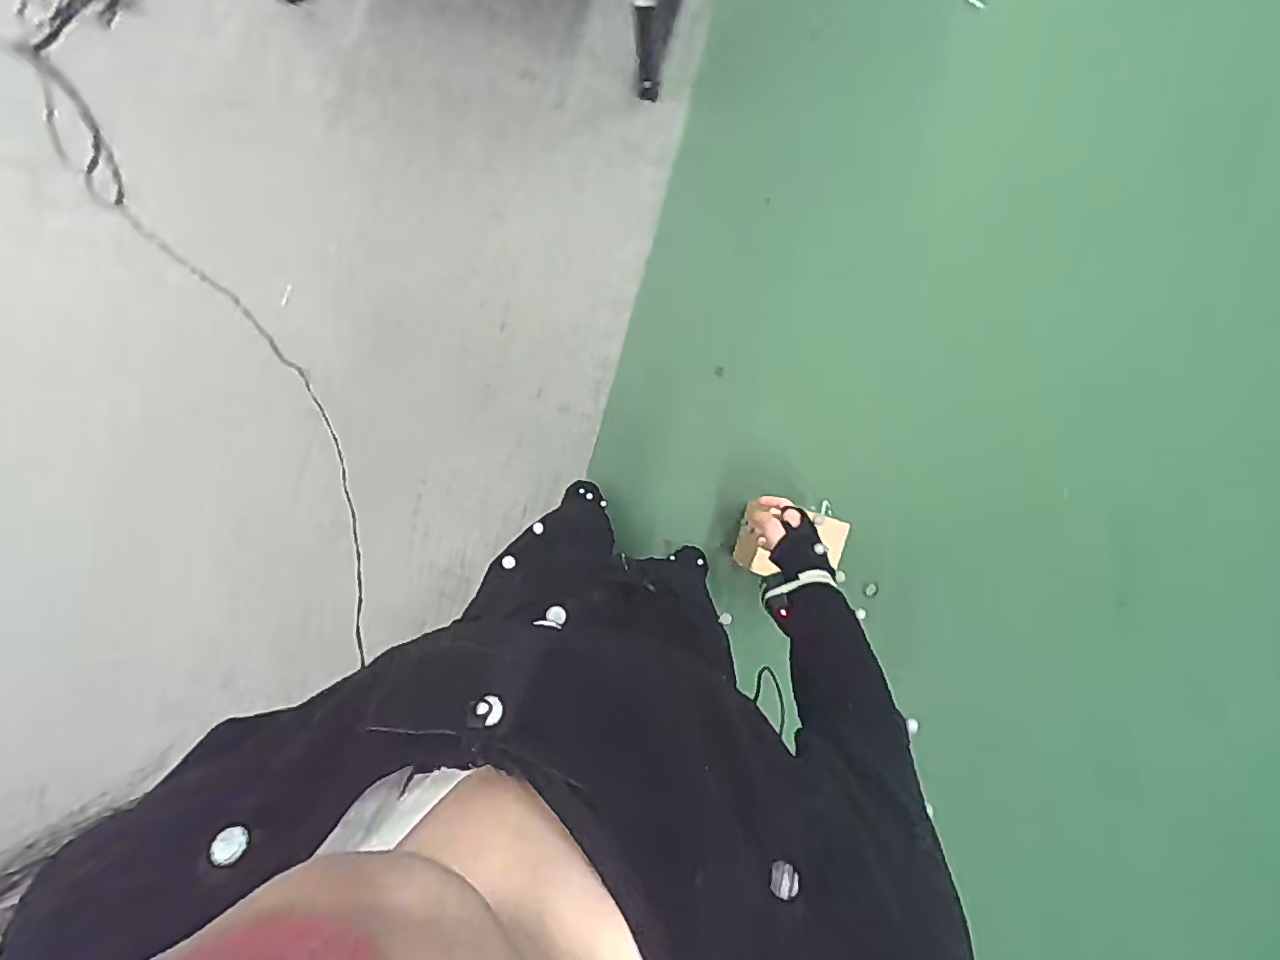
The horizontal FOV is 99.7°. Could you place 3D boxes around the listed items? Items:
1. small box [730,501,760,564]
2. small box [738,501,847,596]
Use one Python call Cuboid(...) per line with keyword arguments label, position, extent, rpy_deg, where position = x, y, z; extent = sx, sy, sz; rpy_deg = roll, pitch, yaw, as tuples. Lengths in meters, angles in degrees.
Cuboid(label="small box", position=(0.346, 0.157, 1.408), extent=(0.179, 0.176, 0.168), rpy_deg=(17, 89, 2))
Cuboid(label="small box", position=(0.341, 0.148, 1.243), extent=(0.179, 0.176, 0.168), rpy_deg=(19, 89, 3))
